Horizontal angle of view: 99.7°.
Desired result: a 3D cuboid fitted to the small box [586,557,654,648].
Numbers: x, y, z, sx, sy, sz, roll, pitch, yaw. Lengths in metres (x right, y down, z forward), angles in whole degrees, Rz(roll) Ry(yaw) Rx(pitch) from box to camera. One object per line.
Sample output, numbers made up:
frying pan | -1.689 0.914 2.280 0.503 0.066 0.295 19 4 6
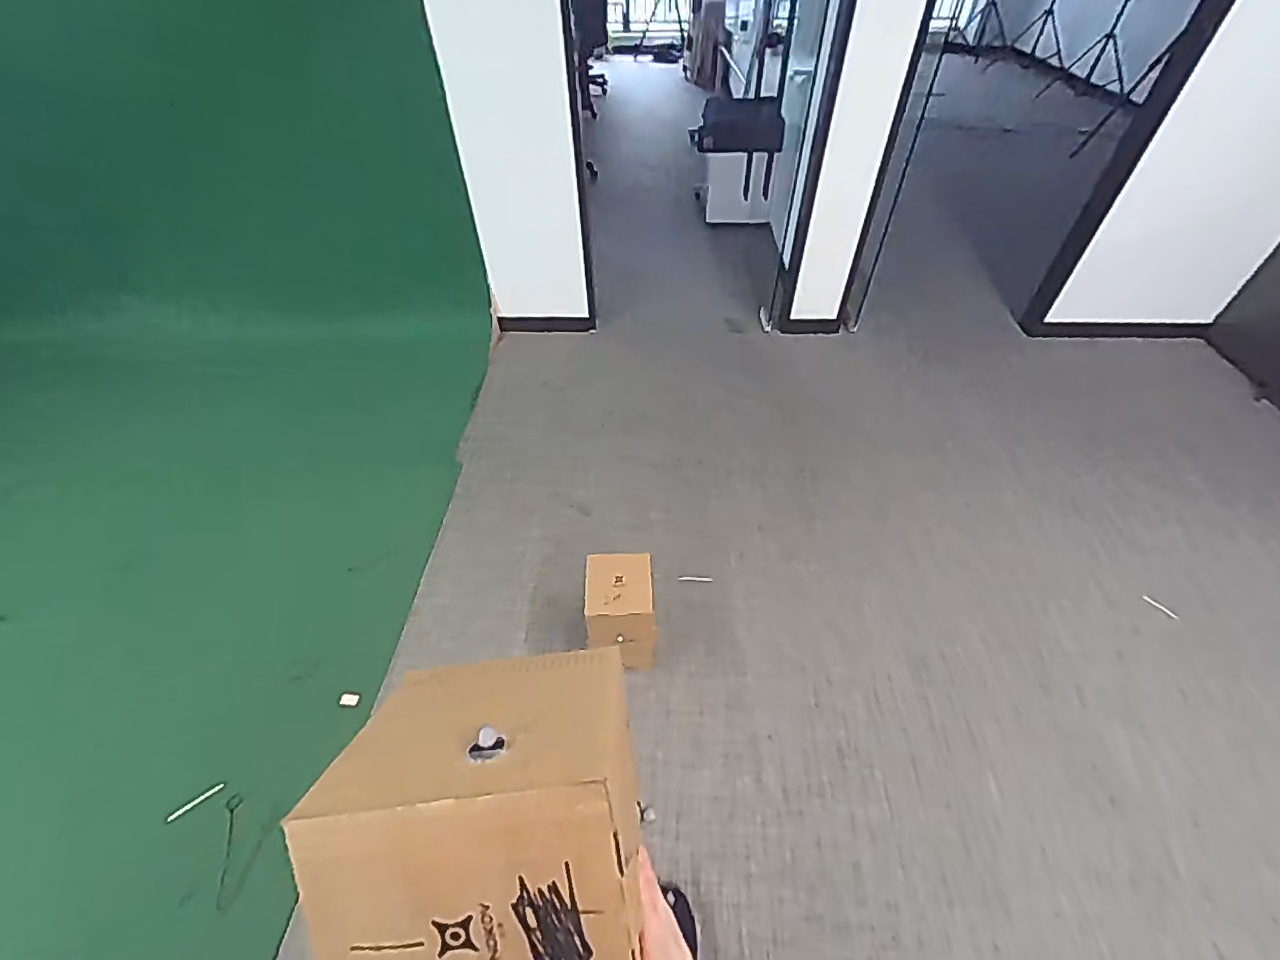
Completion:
small box | -0.048 0.318 1.404 0.168 0.176 0.179 -2 48 0
